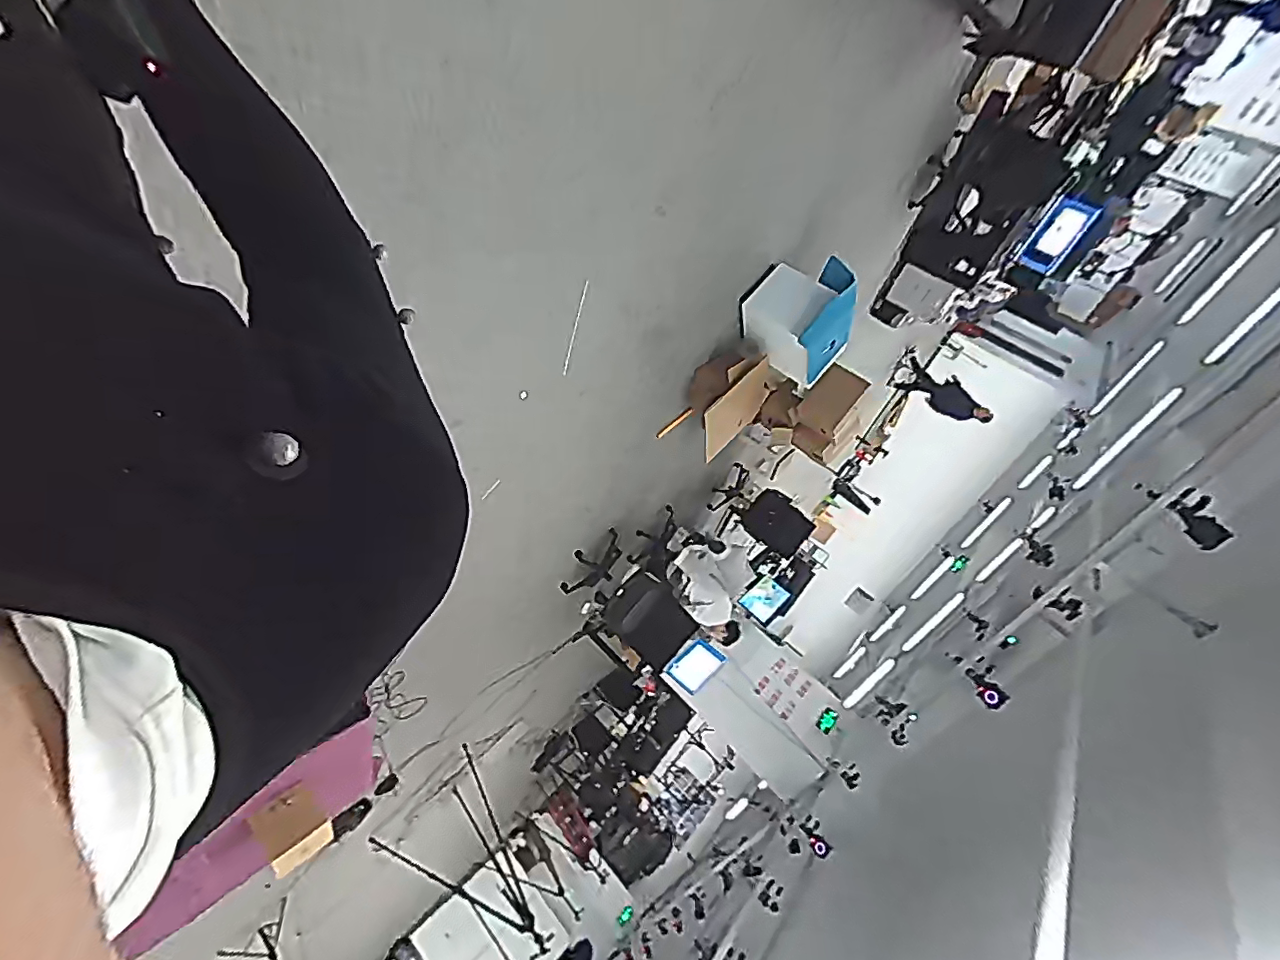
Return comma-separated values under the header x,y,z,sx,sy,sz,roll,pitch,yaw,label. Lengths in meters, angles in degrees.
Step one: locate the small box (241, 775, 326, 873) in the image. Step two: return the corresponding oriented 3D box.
x,y,z,sx,sy,sz,roll,pitch,yaw,label
-1.102,1.059,1.675,0.168,0.176,0.179,-27,149,-45,small box
